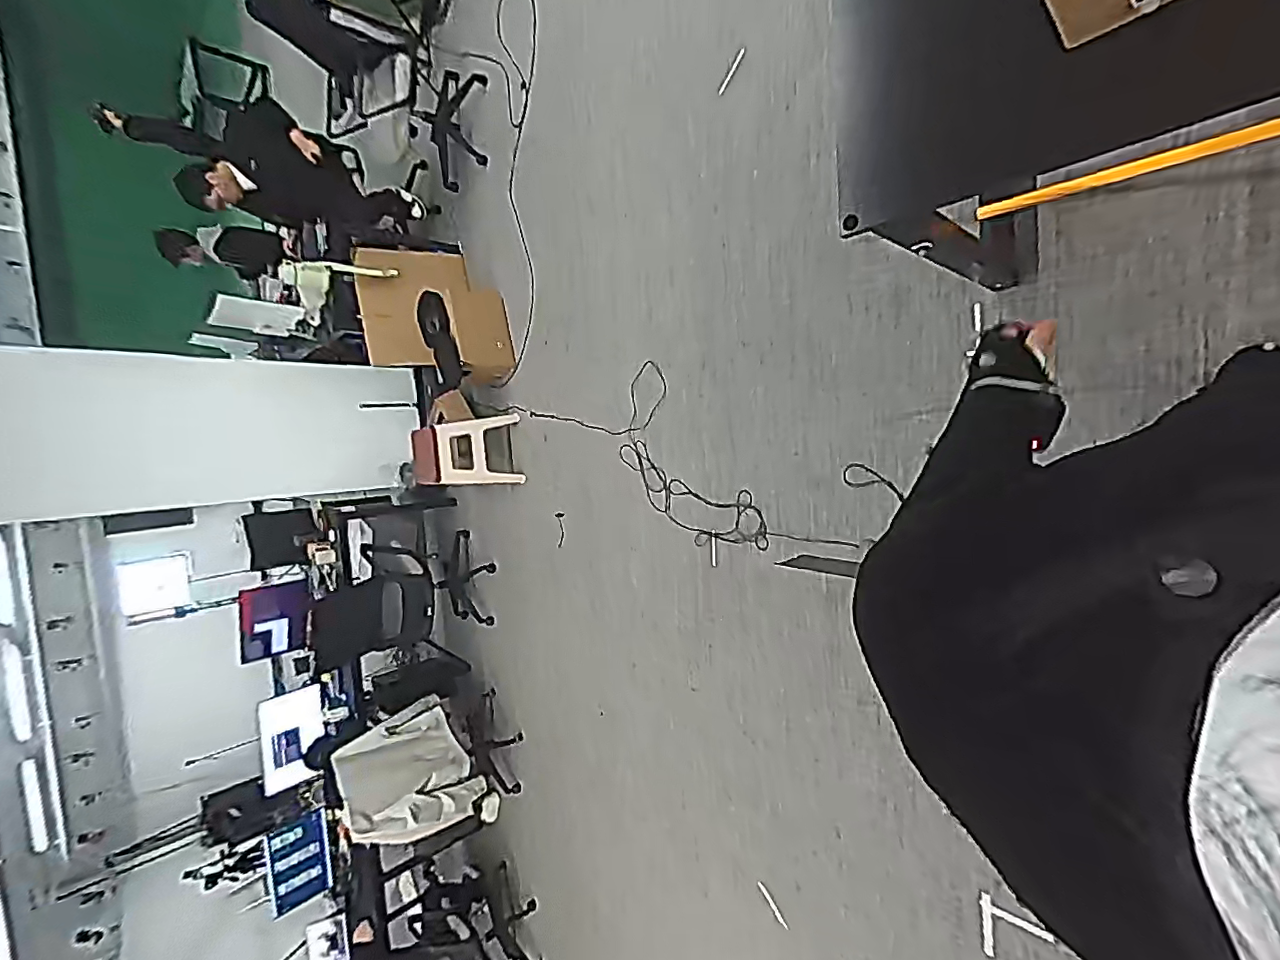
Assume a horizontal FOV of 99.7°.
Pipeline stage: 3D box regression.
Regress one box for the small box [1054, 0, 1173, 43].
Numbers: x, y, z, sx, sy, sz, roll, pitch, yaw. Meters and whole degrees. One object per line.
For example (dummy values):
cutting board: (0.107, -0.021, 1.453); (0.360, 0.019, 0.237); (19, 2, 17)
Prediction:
small box: (0.468, -0.560, 0.488); (0.168, 0.176, 0.179); (-5, 93, 49)
